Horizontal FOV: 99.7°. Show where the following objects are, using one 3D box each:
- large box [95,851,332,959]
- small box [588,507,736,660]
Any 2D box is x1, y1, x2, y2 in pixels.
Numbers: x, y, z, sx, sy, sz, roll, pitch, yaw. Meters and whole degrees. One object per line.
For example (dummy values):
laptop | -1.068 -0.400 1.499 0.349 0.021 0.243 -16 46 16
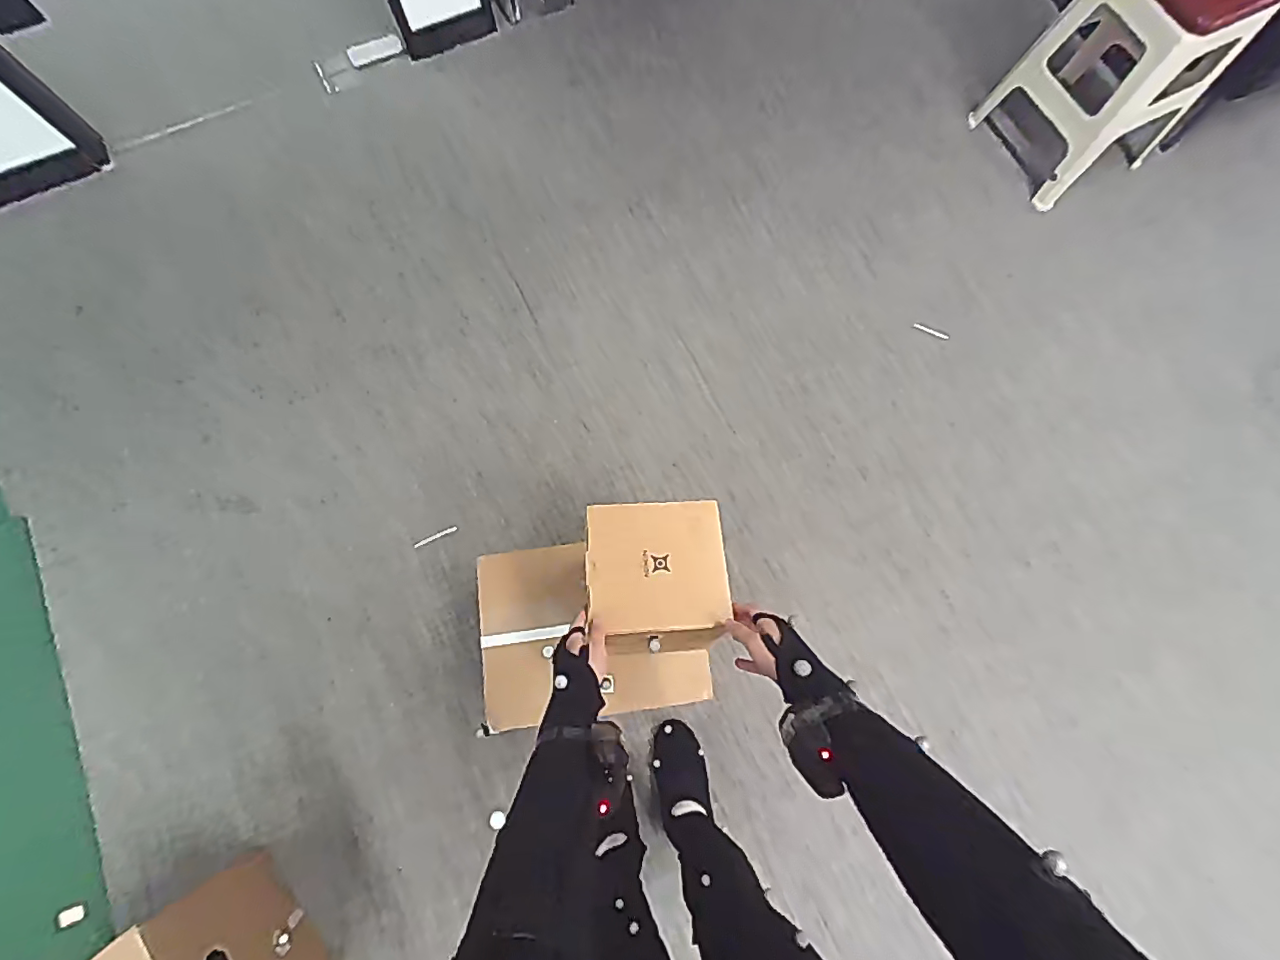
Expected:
large box | -0.850 0.980 0.948 0.408 0.320 0.320 -38 78 -9
small box | 0.019 0.145 0.738 0.179 0.176 0.168 -2 62 -3
